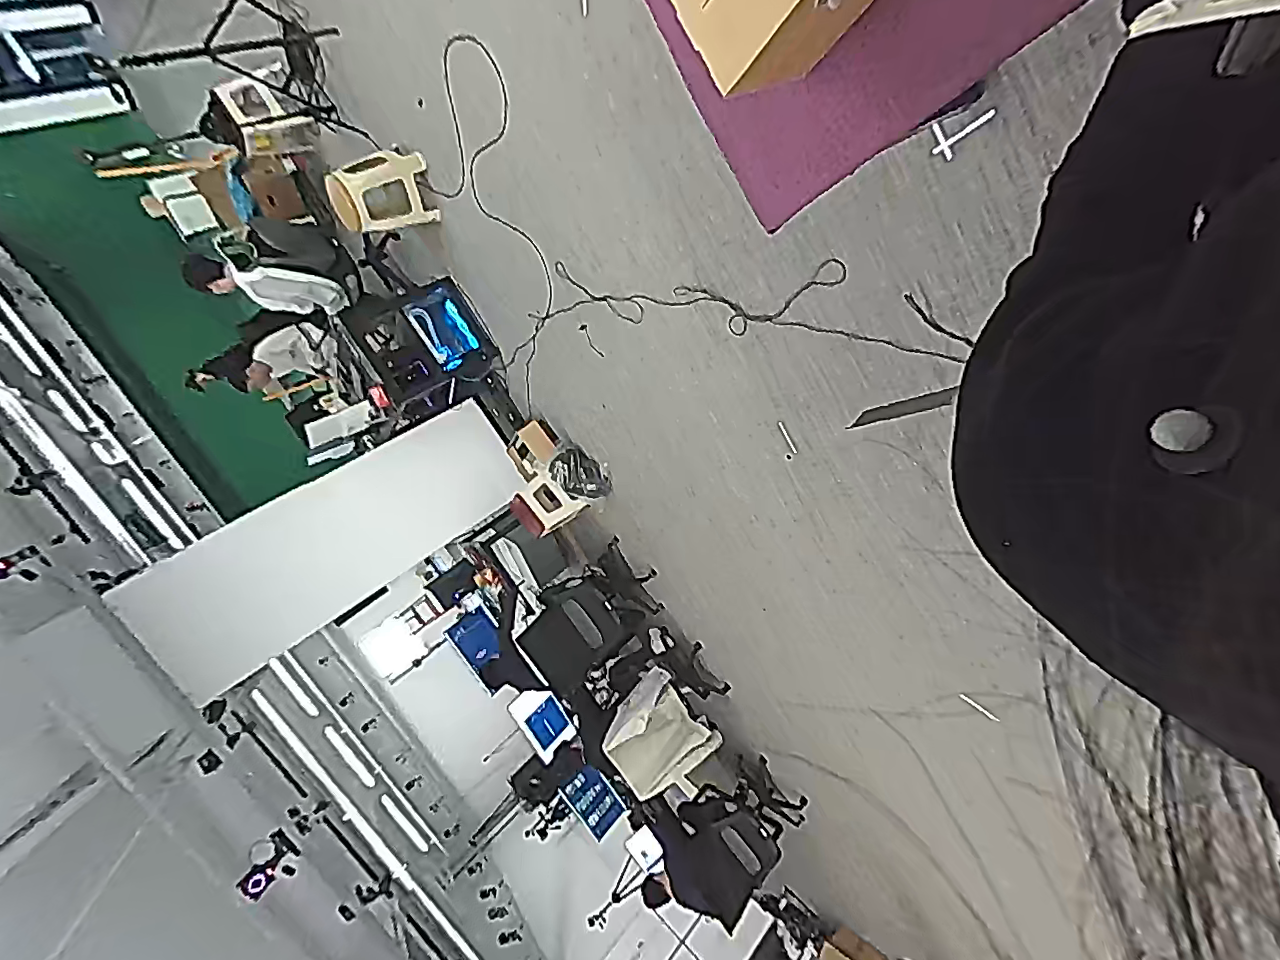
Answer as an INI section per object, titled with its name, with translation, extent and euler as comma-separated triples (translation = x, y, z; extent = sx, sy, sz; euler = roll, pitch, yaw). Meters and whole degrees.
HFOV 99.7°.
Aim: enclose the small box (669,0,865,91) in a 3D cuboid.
[small box]
translation = 0.145, -0.561, 0.565
extent = 0.168, 0.176, 0.179
euler = 58, 151, -7
